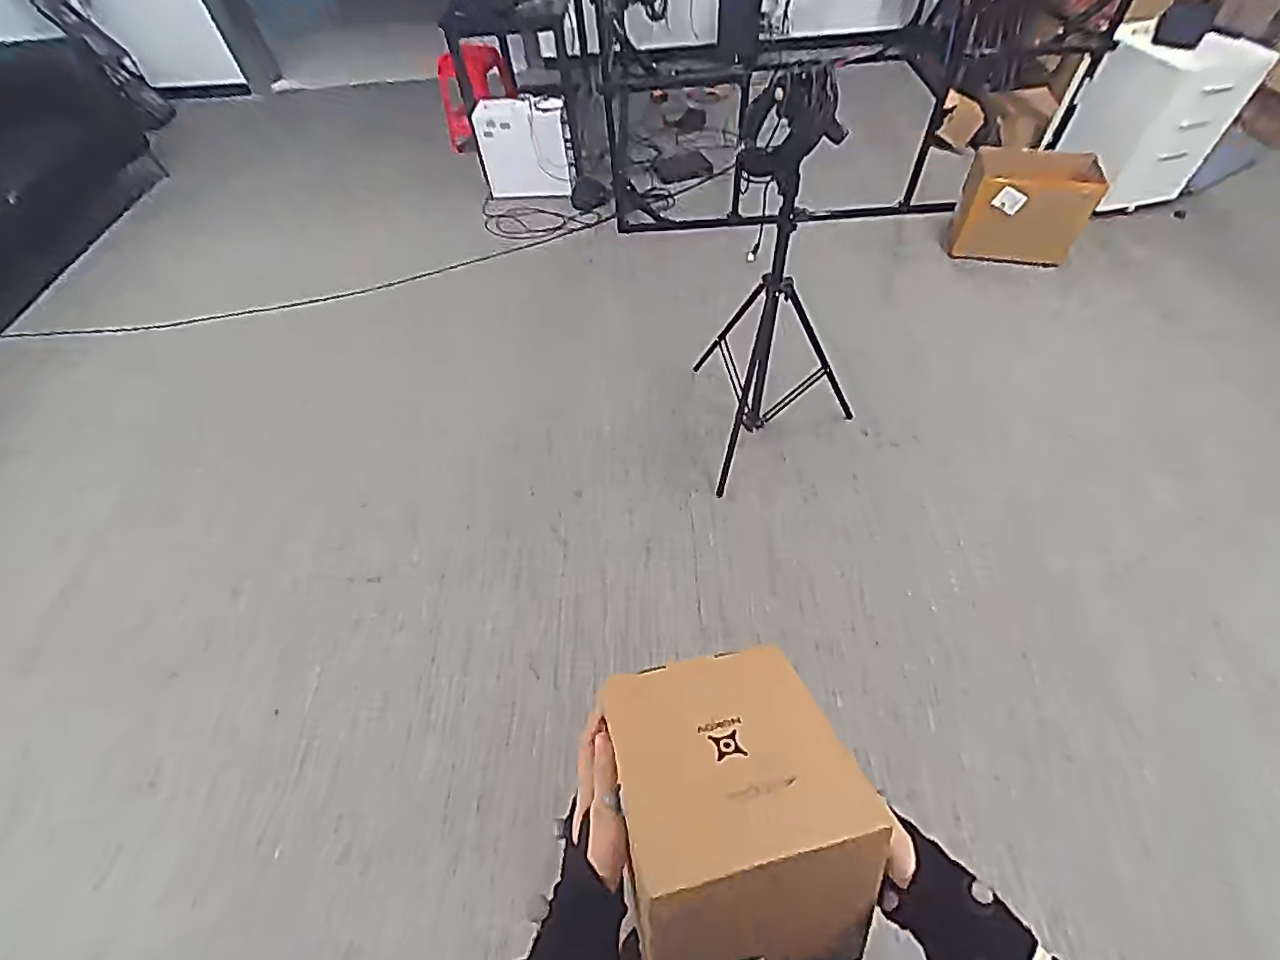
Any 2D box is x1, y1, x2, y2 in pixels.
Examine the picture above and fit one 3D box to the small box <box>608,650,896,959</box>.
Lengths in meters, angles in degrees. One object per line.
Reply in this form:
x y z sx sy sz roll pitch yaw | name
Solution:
0.071 0.274 0.443 0.168 0.176 0.179 -8 26 -12 | small box
